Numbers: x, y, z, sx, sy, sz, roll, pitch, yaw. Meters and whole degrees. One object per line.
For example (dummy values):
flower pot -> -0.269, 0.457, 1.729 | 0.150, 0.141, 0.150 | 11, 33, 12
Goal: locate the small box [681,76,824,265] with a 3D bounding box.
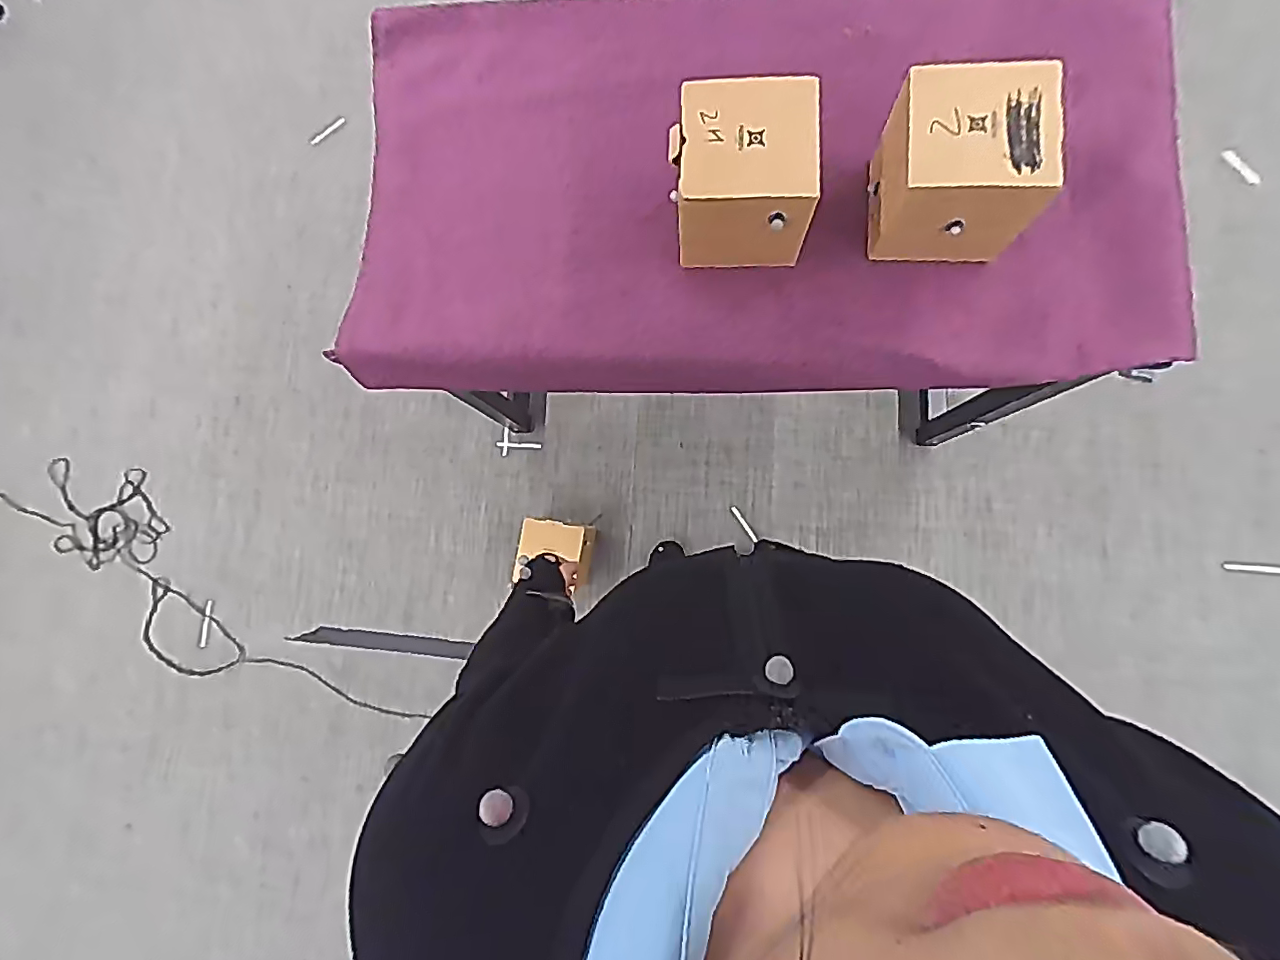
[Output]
small box -> 0.148, -0.418, 0.757 | 0.179, 0.176, 0.168 | 1, 83, 6

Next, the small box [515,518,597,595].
small box -> -0.219, 0.204, 1.463 | 0.168, 0.176, 0.179 | 9, 84, 6
